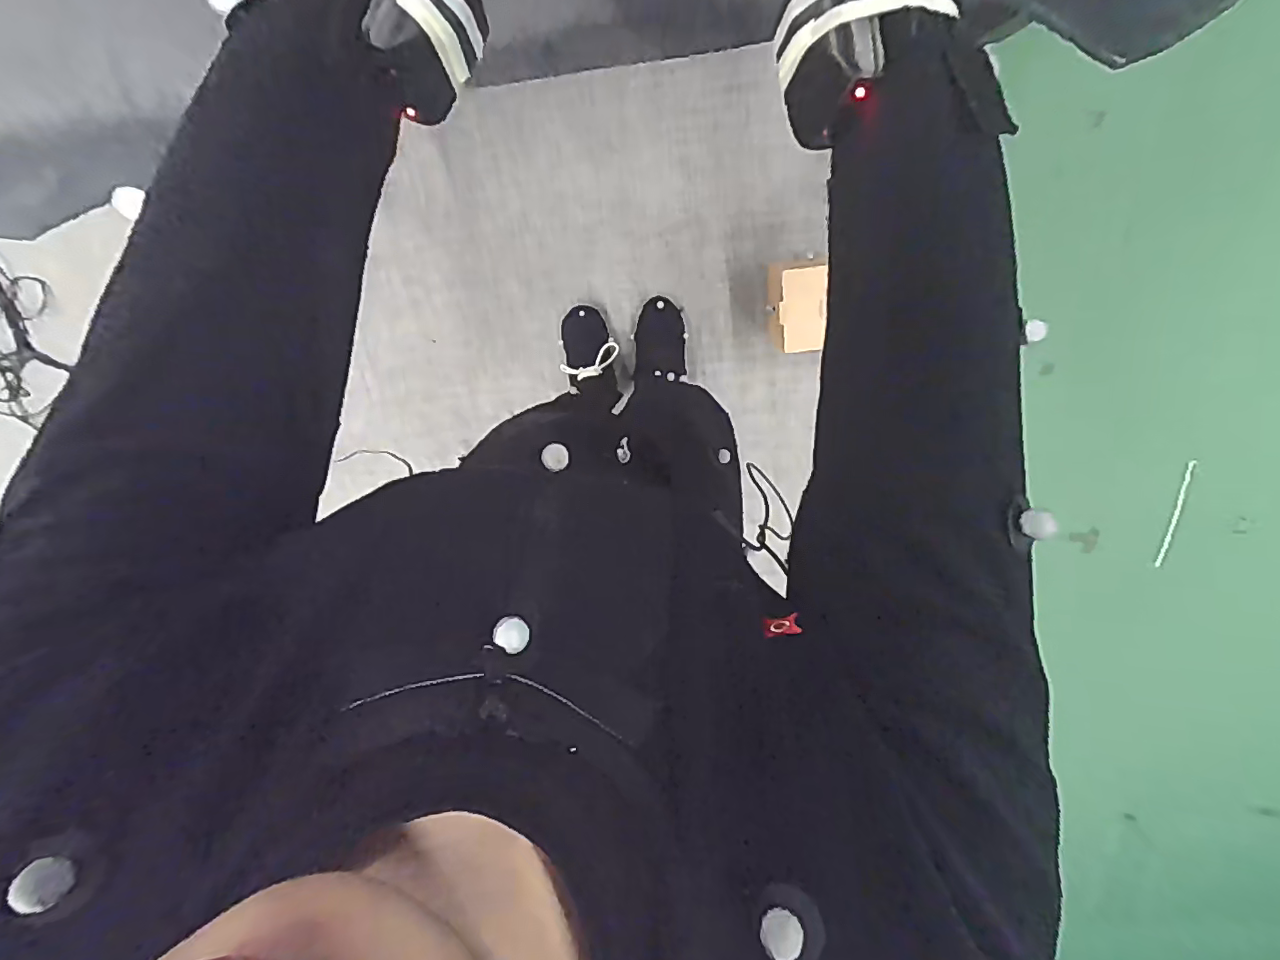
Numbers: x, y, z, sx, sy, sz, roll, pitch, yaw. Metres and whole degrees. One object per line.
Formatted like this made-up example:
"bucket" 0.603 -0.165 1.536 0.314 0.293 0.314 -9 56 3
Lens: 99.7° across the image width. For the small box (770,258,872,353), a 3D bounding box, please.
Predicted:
"small box" 0.374 -0.373 1.147 0.179 0.176 0.168 -6 113 6
